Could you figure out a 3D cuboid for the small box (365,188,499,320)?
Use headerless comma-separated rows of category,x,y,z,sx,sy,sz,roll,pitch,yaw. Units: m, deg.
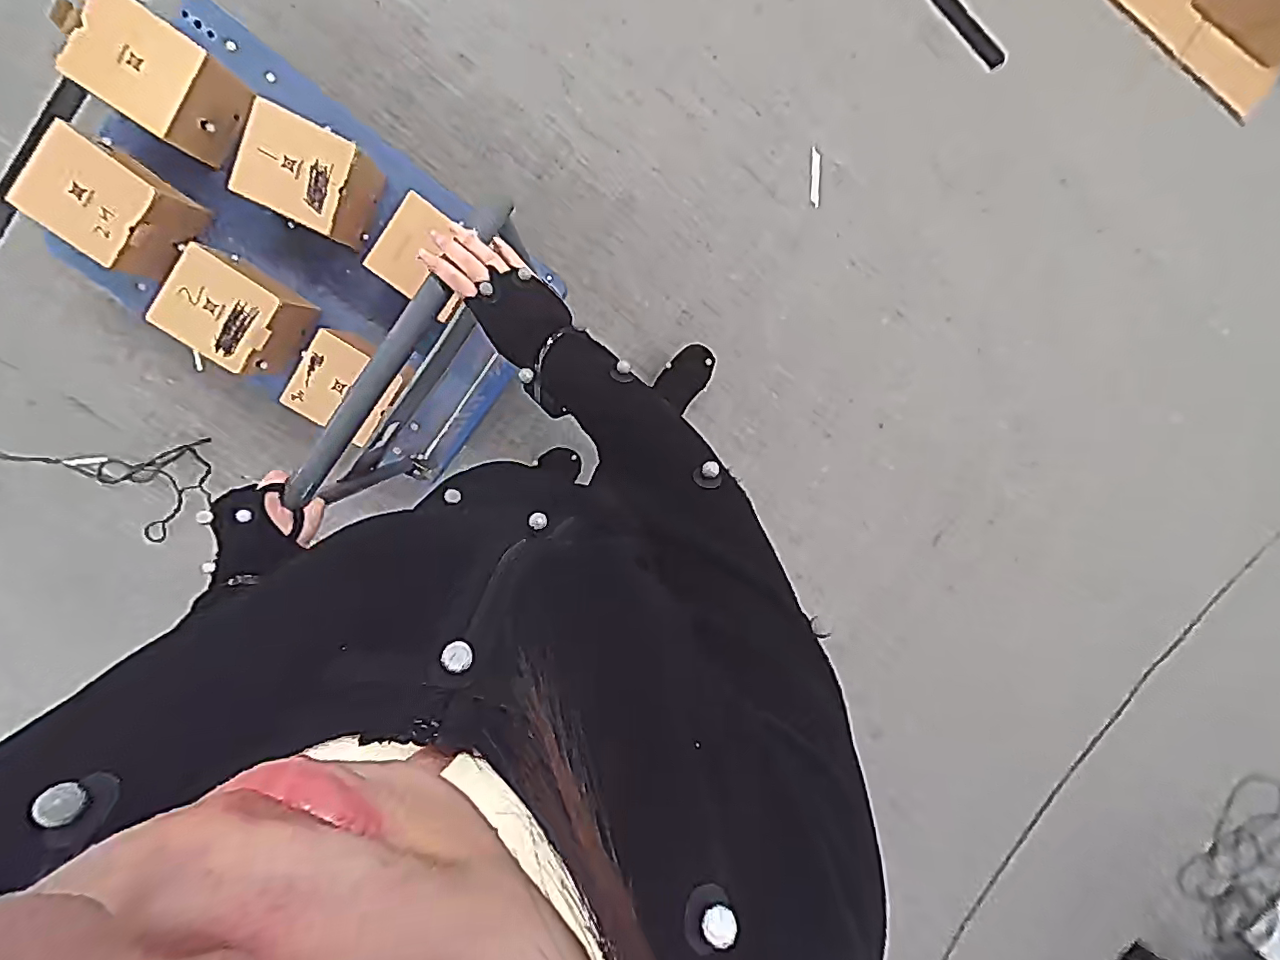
small box,-0.402,-0.438,1.083,0.179,0.176,0.168,35,95,-13

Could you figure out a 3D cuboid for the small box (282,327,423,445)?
small box,-0.574,-0.195,1.111,0.179,0.176,0.168,32,95,-14

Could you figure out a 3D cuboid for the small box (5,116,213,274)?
small box,-0.949,-0.501,0.987,0.179,0.176,0.168,37,95,-15

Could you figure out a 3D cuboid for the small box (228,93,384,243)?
small box,-0.615,-0.570,1.021,0.179,0.176,0.168,23,98,-11

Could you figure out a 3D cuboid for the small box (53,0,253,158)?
small box,-0.842,-0.708,0.957,0.179,0.176,0.168,32,97,-14
